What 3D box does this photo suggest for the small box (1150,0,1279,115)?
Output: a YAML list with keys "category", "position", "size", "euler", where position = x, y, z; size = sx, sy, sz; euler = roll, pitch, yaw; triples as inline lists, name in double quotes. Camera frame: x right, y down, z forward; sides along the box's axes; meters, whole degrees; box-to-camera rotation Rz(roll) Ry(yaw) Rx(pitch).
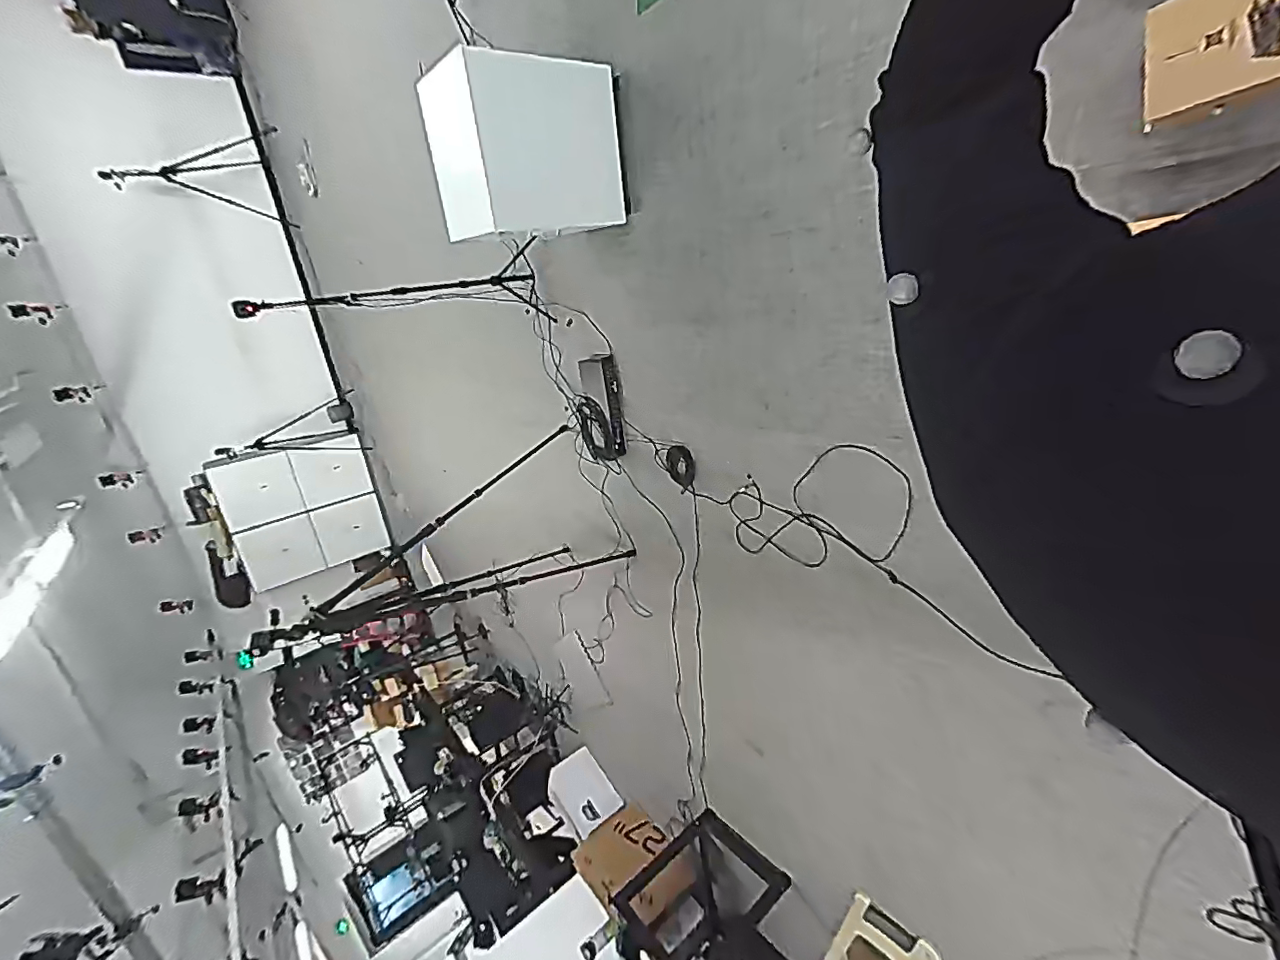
- category: "small box"
  position: [0.936, -0.702, 0.846]
  size: [0.179, 0.176, 0.168]
  euler: [6, 113, 53]
